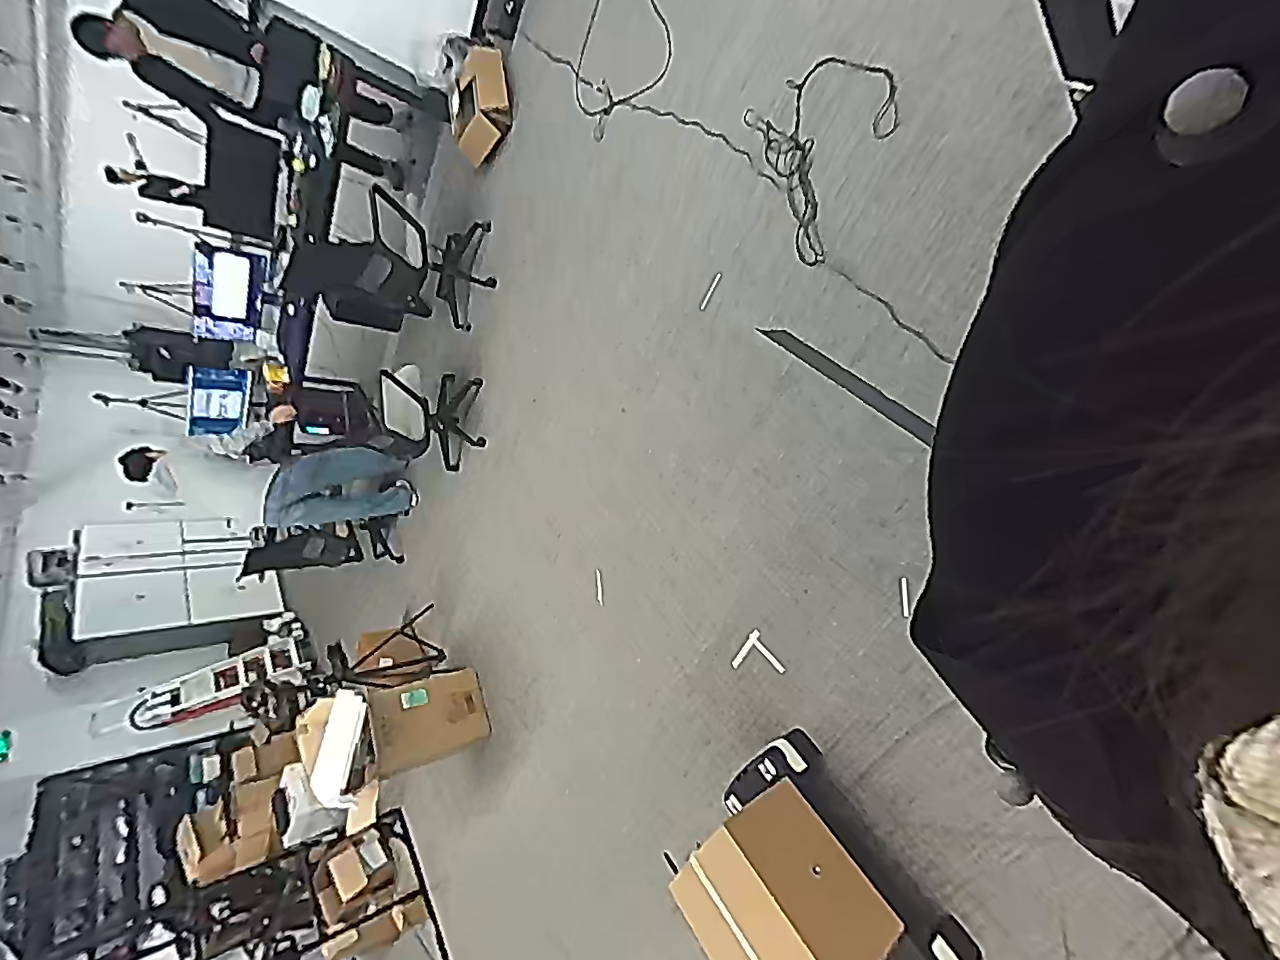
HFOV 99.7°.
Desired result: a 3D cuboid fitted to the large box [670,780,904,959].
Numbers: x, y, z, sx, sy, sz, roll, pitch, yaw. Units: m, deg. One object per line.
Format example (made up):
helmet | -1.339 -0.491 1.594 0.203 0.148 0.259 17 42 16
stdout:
large box | 0.358 1.070 1.360 0.408 0.320 0.320 46 121 35
